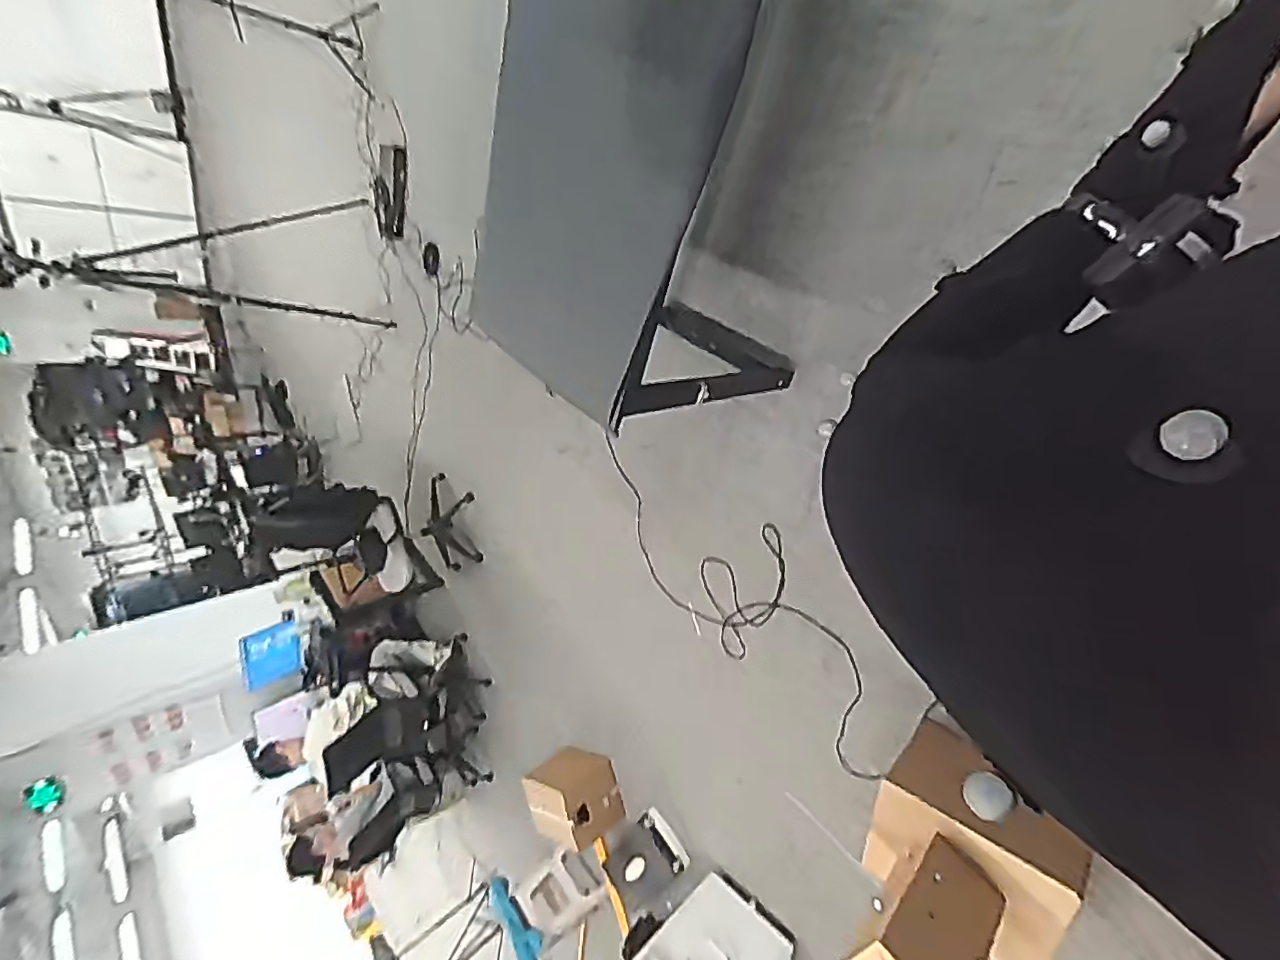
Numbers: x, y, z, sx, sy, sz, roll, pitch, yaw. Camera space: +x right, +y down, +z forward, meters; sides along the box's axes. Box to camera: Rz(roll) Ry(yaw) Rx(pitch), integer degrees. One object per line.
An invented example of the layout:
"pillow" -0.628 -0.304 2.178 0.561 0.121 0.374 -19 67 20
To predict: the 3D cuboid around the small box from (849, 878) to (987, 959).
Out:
"small box" 0.576 0.982 1.116 0.168 0.176 0.179 41 130 30
